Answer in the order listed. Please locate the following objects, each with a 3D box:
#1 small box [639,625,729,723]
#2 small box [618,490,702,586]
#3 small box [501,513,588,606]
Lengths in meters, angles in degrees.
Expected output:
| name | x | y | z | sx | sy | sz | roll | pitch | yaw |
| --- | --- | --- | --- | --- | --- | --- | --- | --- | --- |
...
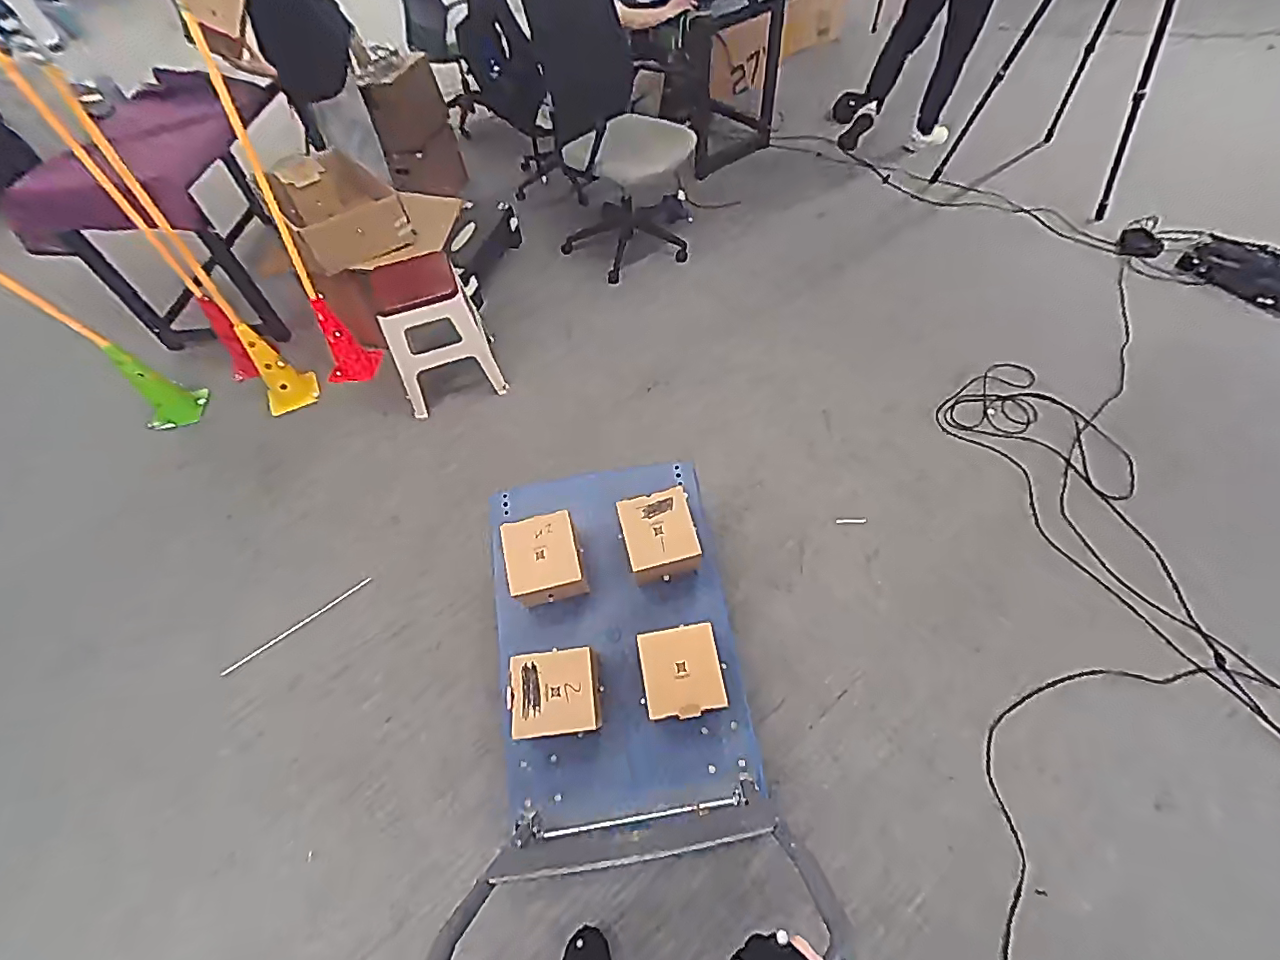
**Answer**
| name | x | y | z | sx | sy | sz | roll | pitch | yaw |
| --- | --- | --- | --- | --- | --- | --- | --- | --- | --- |
| small box | 0.091 | 0.437 | 1.215 | 0.168 | 0.176 | 0.179 | -10 | 69 | -2 |
| small box | 0.046 | 0.147 | 1.332 | 0.168 | 0.176 | 0.179 | -14 | 69 | -3 |
| small box | -0.227 | 0.202 | 1.317 | 0.168 | 0.176 | 0.179 | -13 | 68 | -4 |
